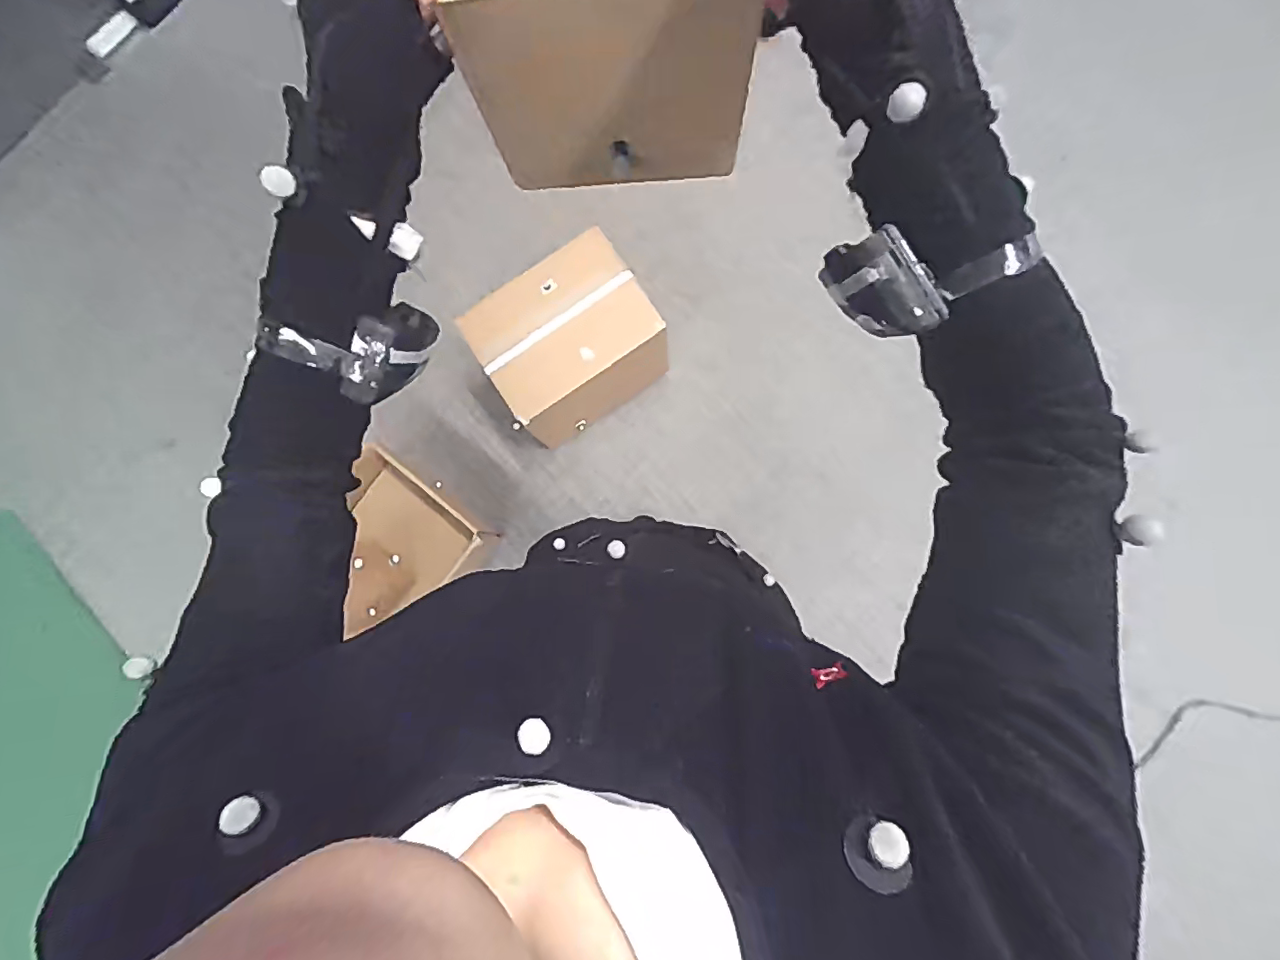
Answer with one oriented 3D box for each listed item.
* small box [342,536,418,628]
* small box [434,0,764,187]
[{"bbox_3d":[-0.718,0.266,1.403,0.168,0.176,0.179,39,86,8],"label":"small box"},{"bbox_3d":[-0.020,-0.324,0.362,0.179,0.176,0.168,-2,85,2],"label":"small box"}]
